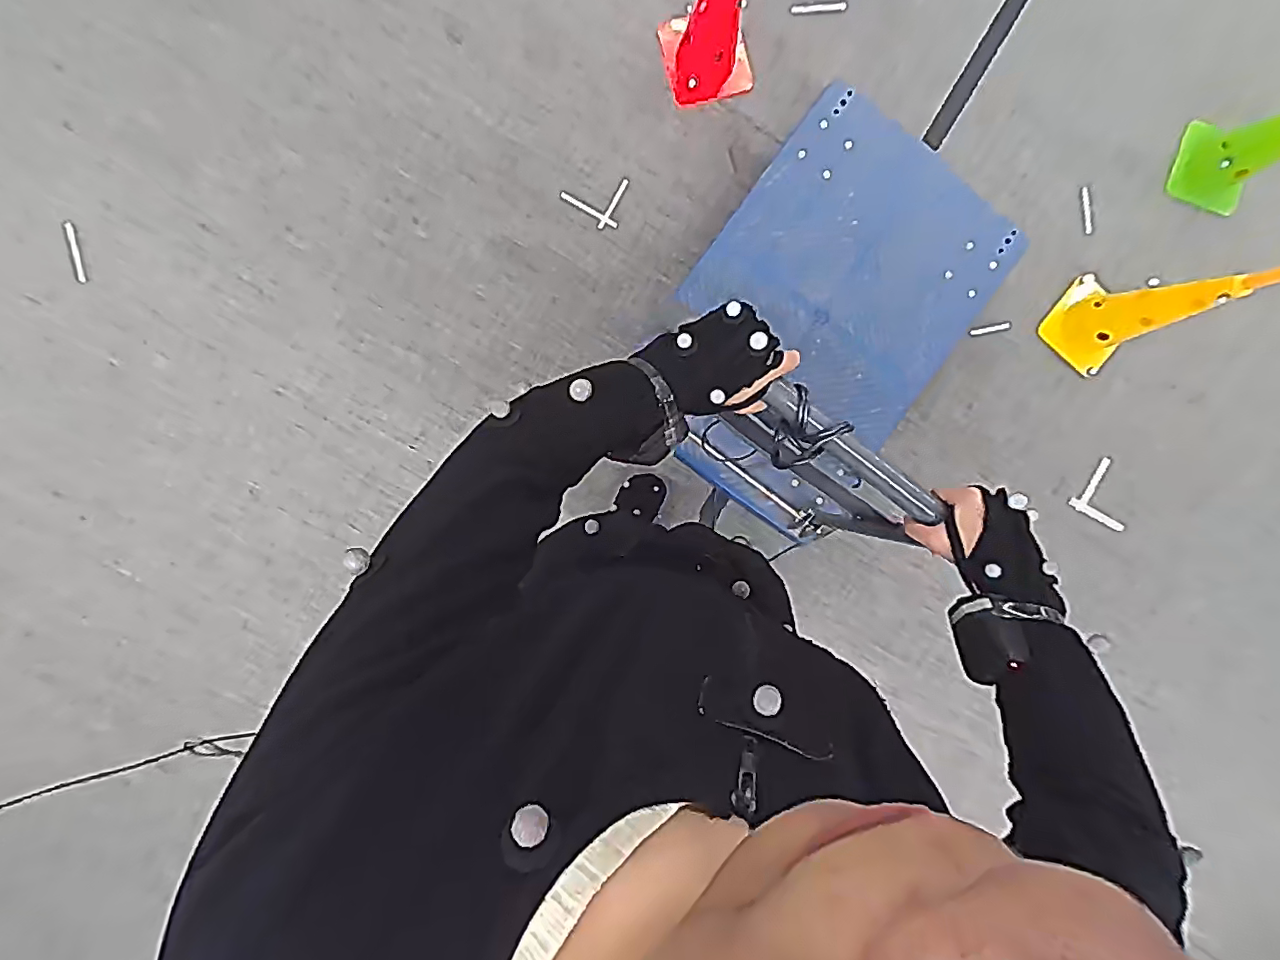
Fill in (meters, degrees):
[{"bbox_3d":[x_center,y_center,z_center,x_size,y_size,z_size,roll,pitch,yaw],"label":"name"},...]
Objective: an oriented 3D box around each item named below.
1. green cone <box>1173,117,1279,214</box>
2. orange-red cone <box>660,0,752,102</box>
[{"bbox_3d":[1.500,-0.797,1.225,0.200,0.368,0.202,16,94,-4],"label":"green cone"},{"bbox_3d":[0.173,-1.010,1.125,0.199,0.360,0.198,-15,95,-4],"label":"orange-red cone"}]
